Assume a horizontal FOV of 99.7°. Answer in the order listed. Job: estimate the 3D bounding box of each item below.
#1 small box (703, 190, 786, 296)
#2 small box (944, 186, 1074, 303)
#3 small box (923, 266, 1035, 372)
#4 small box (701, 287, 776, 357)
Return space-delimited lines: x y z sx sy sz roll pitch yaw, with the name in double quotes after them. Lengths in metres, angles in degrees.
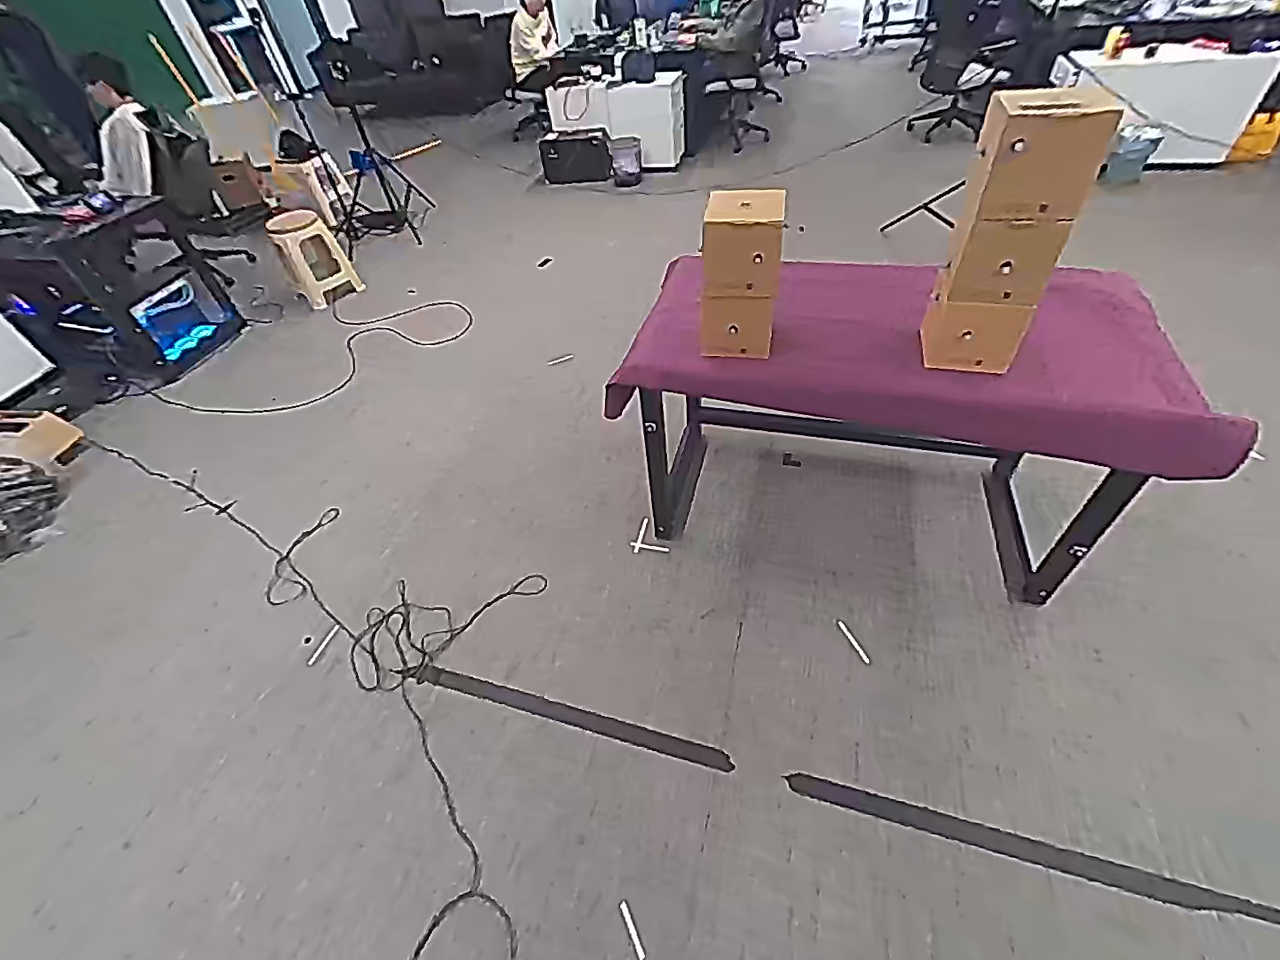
0.232 -0.526 1.206 0.168 0.176 0.179 5 46 10 "small box"
0.735 -0.476 1.099 0.168 0.176 0.179 9 48 16 "small box"
0.749 -0.360 1.214 0.168 0.176 0.179 9 48 15 "small box"
0.245 -0.420 1.328 0.168 0.176 0.179 6 47 12 "small box"
